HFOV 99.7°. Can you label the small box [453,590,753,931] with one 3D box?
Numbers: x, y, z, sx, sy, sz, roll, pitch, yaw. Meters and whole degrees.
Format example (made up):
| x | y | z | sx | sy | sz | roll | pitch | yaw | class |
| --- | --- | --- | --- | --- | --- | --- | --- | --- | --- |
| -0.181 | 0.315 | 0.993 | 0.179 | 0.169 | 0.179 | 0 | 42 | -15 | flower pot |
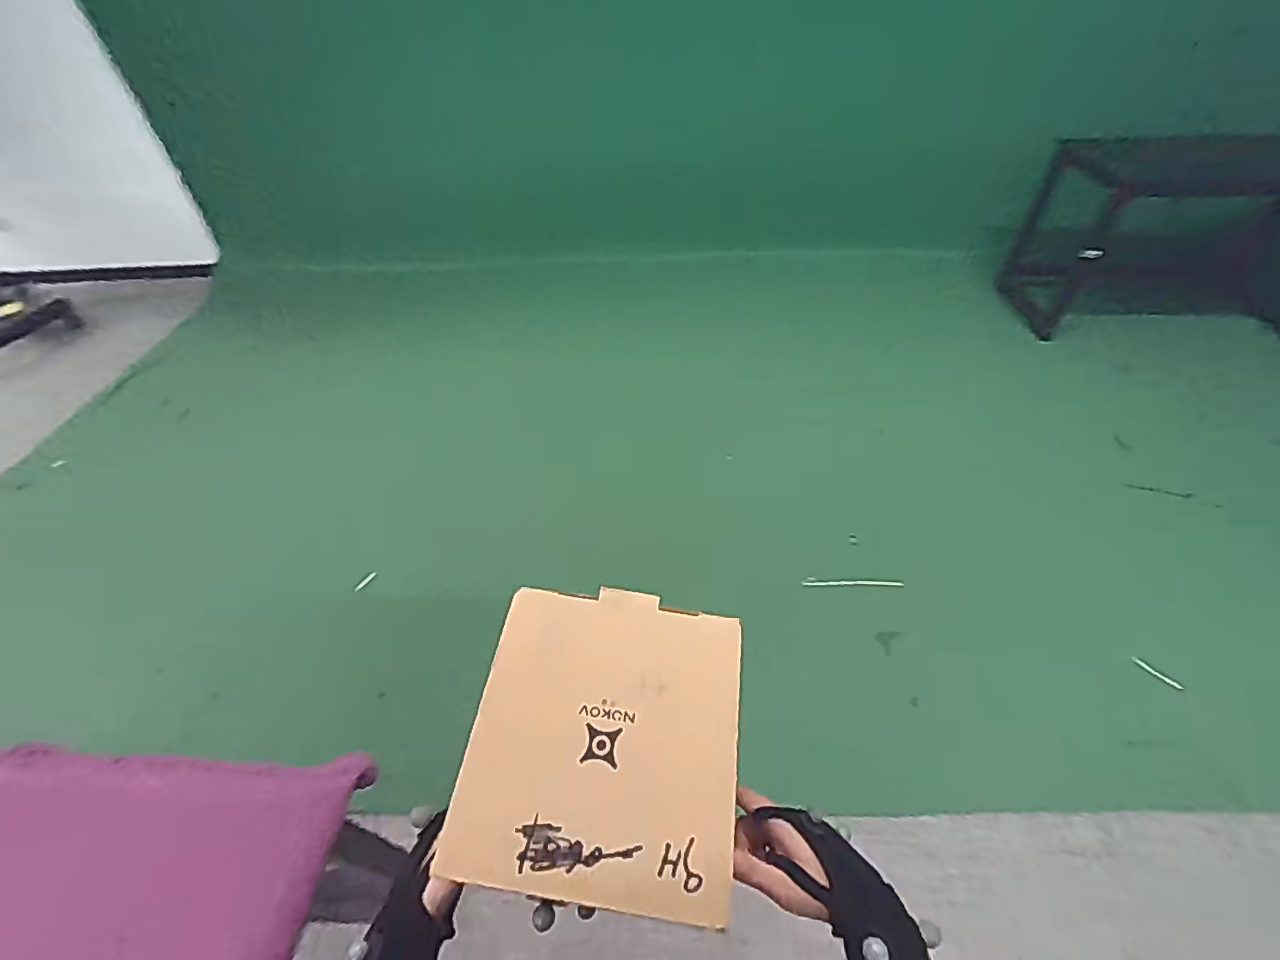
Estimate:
| x | y | z | sx | sy | sz | roll | pitch | yaw | class |
| --- | --- | --- | --- | --- | --- | --- | --- | --- | --- |
| -0.013 | 0.207 | 0.407 | 0.168 | 0.176 | 0.179 | 7 | 54 | 6 | small box |
